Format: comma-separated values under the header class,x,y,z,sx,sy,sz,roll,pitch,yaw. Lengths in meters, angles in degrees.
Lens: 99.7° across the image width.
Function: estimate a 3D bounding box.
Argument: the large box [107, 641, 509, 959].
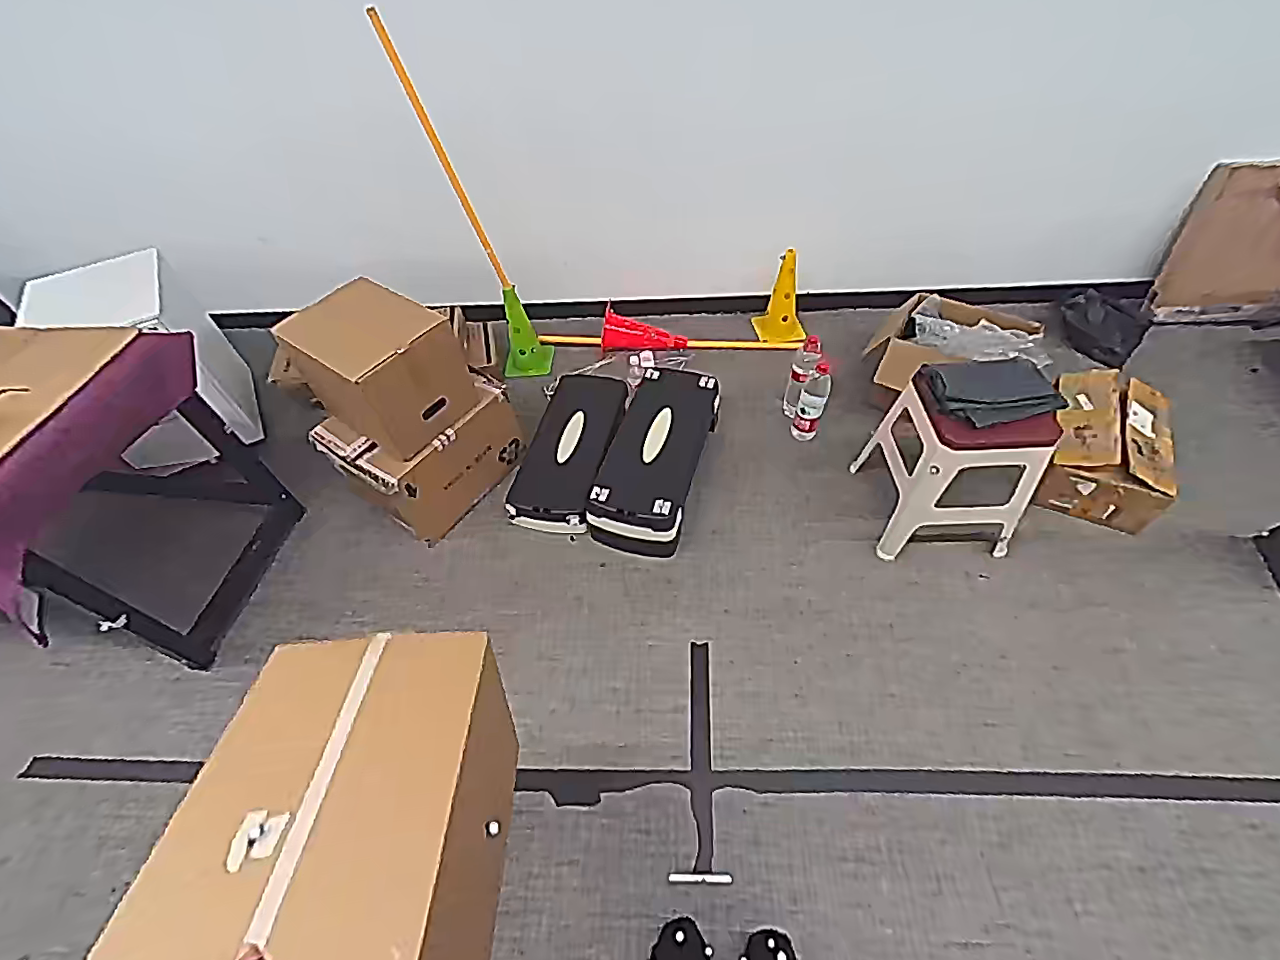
class,x,y,z,sx,sy,sz,roll,pitch,yaw
large box,-0.372,0.485,0.738,0.320,0.320,0.408,-4,36,-2
